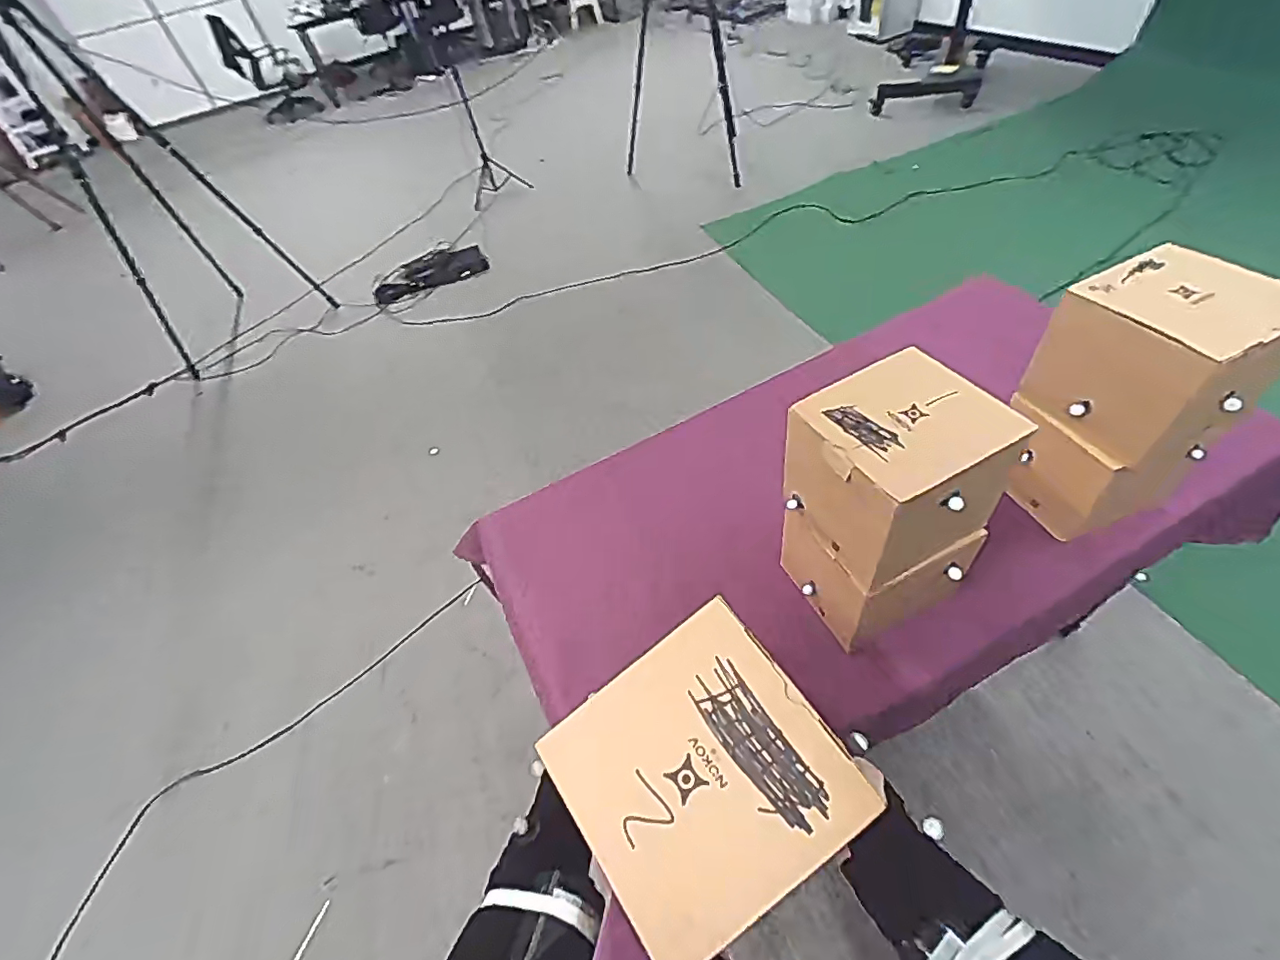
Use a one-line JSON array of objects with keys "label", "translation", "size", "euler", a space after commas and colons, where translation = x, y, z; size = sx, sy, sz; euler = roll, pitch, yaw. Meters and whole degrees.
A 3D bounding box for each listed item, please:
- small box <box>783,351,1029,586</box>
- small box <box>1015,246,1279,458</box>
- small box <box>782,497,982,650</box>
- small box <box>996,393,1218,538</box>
[{"label": "small box", "translation": [0.282, -0.010, 0.618], "size": [0.179, 0.176, 0.168], "euler": [-26, 50, -11]}, {"label": "small box", "translation": [0.620, -0.149, 0.665], "size": [0.168, 0.176, 0.179], "euler": [-24, 50, -9]}, {"label": "small box", "translation": [0.311, 0.099, 0.739], "size": [0.179, 0.176, 0.168], "euler": [-24, 49, -8]}, {"label": "small box", "translation": [0.644, -0.043, 0.788], "size": [0.179, 0.176, 0.168], "euler": [-21, 50, -6]}]
